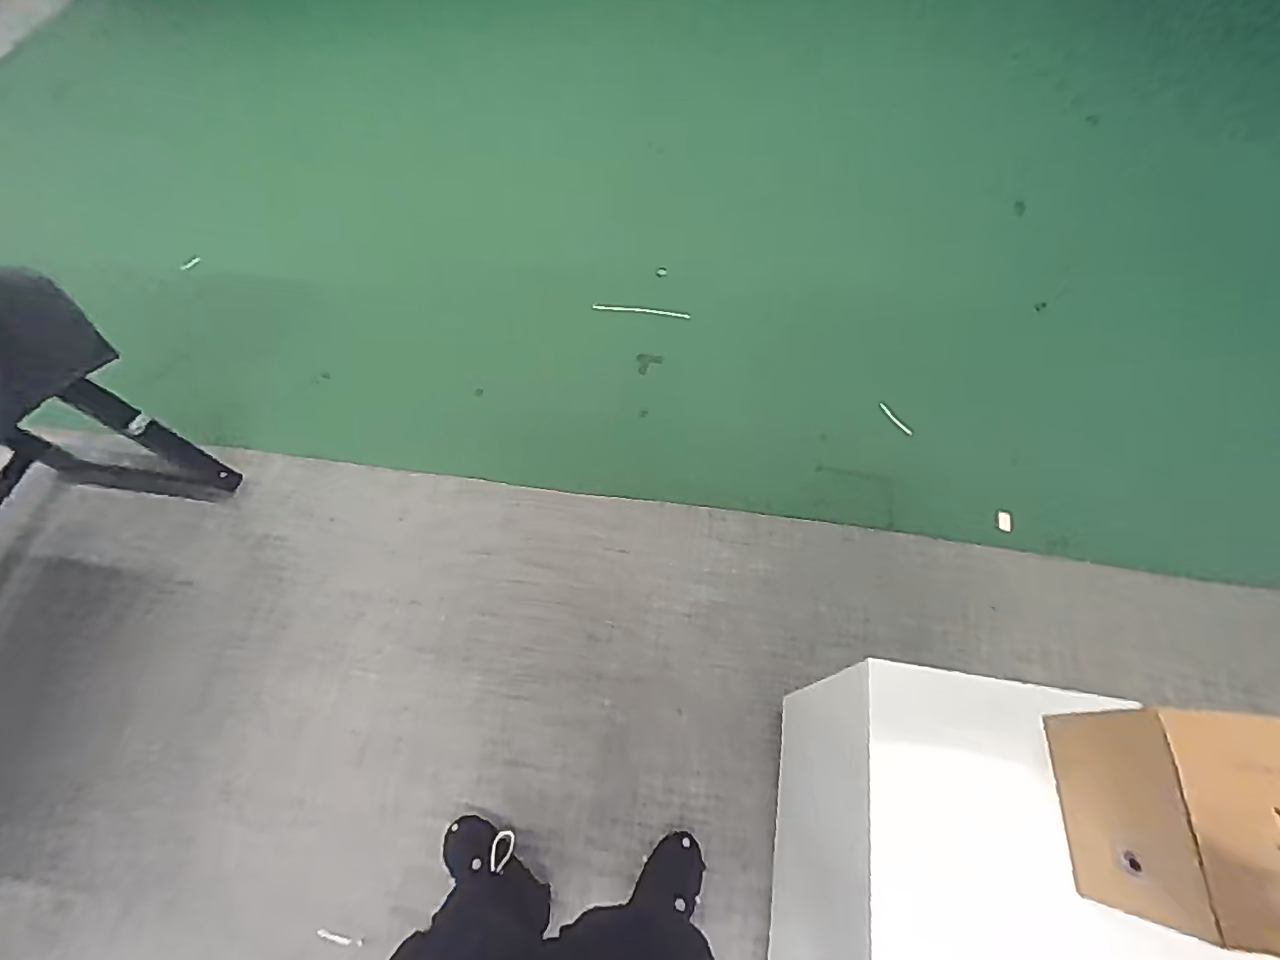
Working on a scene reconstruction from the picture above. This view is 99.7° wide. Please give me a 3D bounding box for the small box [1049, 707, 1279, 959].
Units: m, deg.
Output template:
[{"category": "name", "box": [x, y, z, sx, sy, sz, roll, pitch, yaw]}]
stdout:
[{"category": "small box", "box": [0.535, 0.320, 0.508, 0.168, 0.176, 0.179, 4, 63, 4]}]
